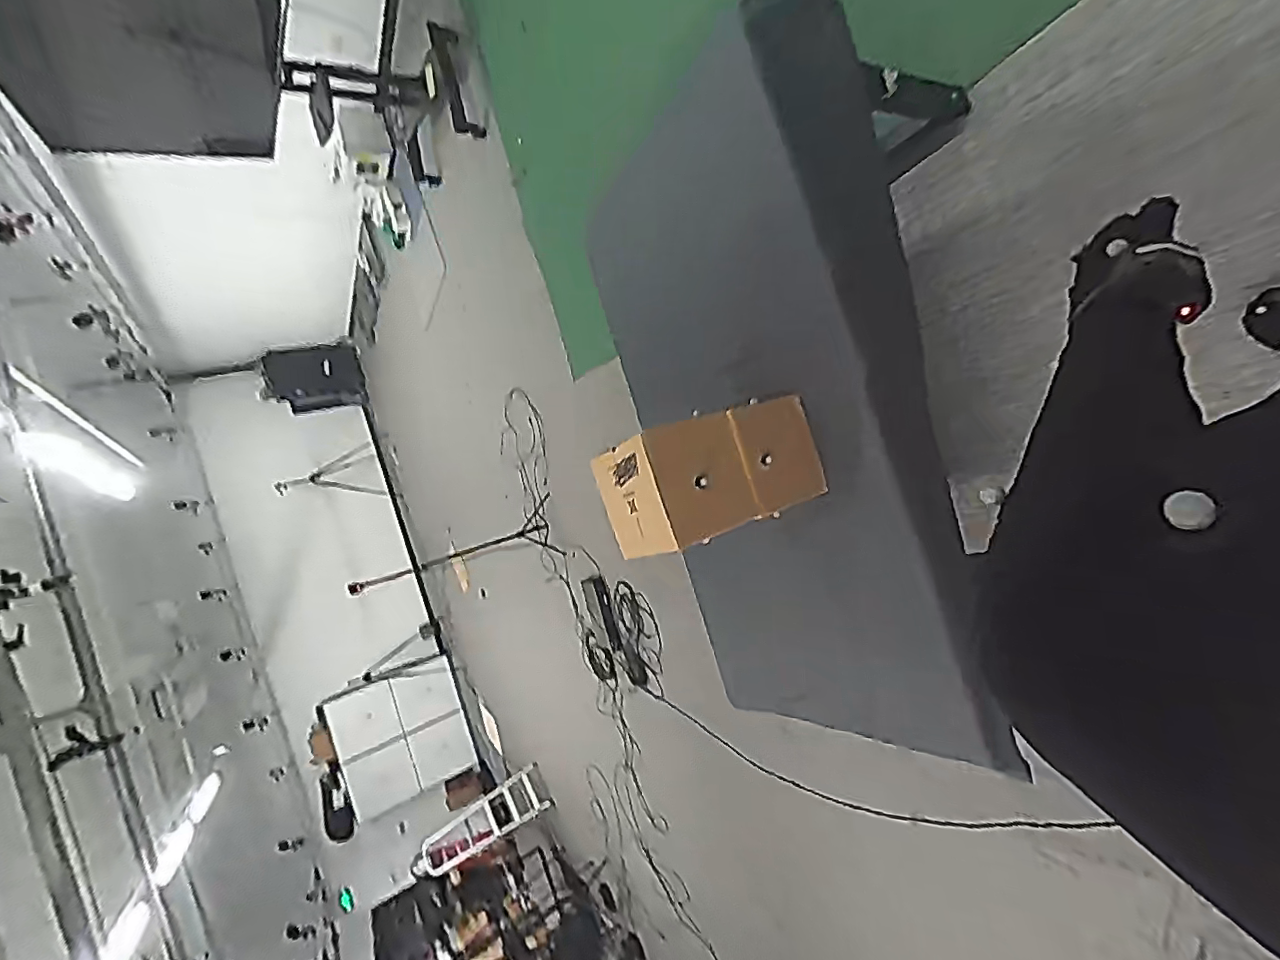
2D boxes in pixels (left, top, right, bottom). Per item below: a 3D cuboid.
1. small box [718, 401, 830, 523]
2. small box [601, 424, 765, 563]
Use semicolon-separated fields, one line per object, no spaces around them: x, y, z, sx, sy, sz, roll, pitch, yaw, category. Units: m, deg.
0.203;-0.024;0.950;0.168;0.176;0.179;-20;86;58;small box
0.068;0.019;0.867;0.168;0.176;0.179;-23;87;58;small box
